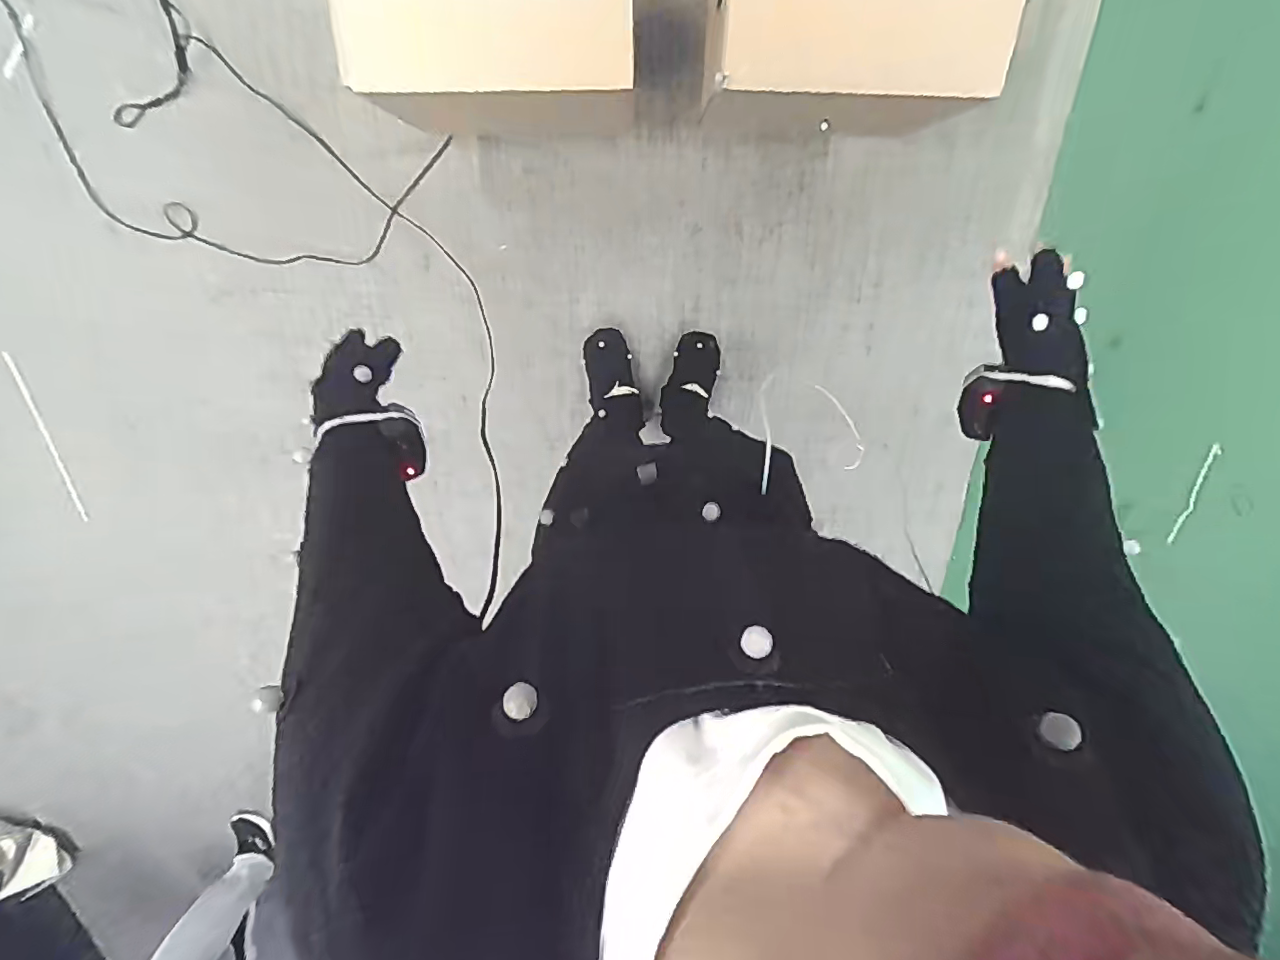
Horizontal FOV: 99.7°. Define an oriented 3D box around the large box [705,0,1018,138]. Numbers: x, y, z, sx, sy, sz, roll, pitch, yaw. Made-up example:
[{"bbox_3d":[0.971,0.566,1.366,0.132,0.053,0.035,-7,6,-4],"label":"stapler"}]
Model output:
[{"bbox_3d":[0.329,-0.755,0.870,0.408,0.320,0.320,2,113,0],"label":"large box"}]
